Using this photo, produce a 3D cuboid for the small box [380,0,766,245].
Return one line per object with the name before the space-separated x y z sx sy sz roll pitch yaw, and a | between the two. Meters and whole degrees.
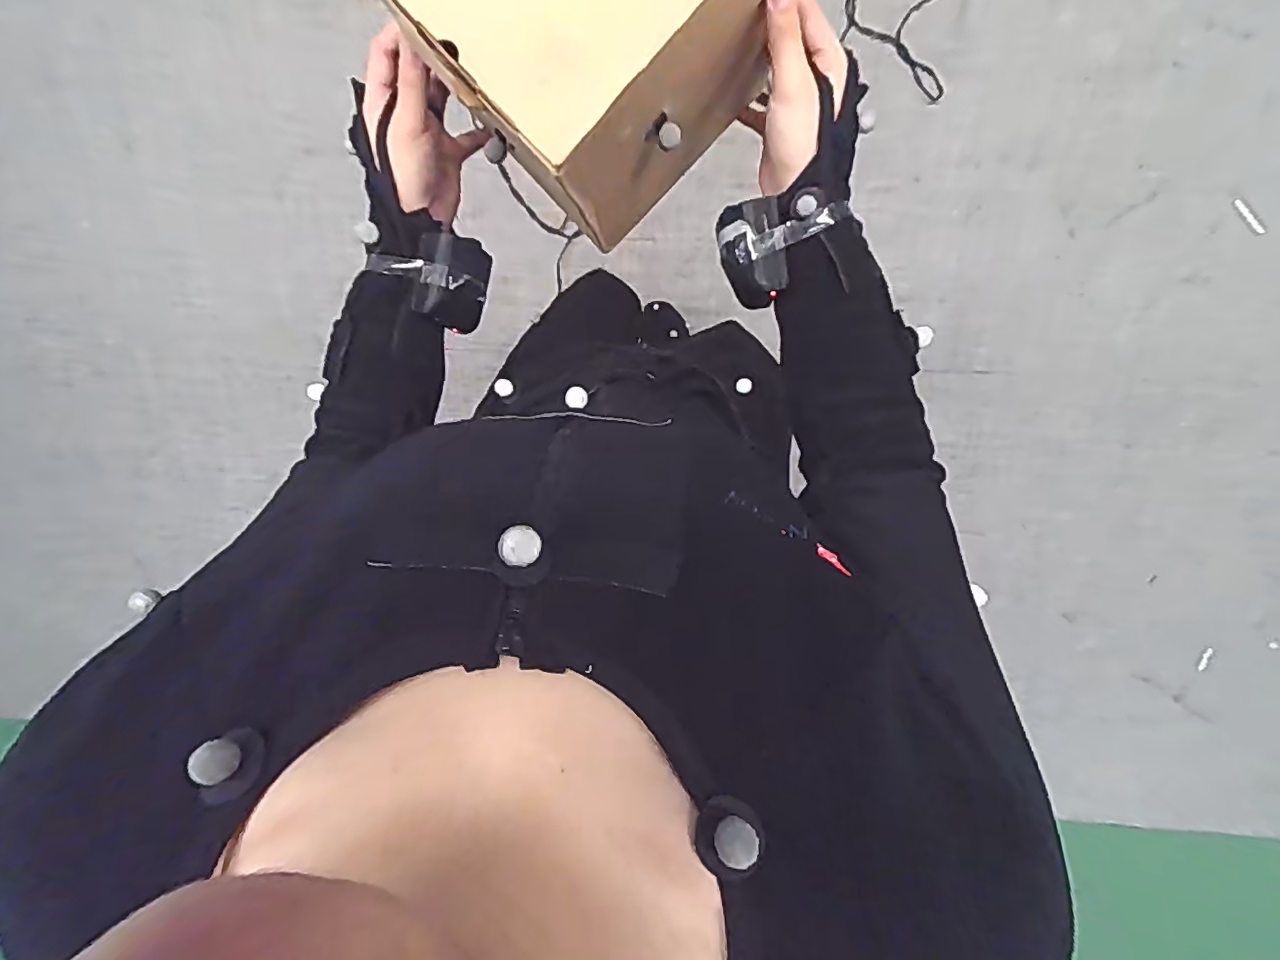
small box | -0.029 -0.291 0.356 0.179 0.176 0.168 -43 92 10
